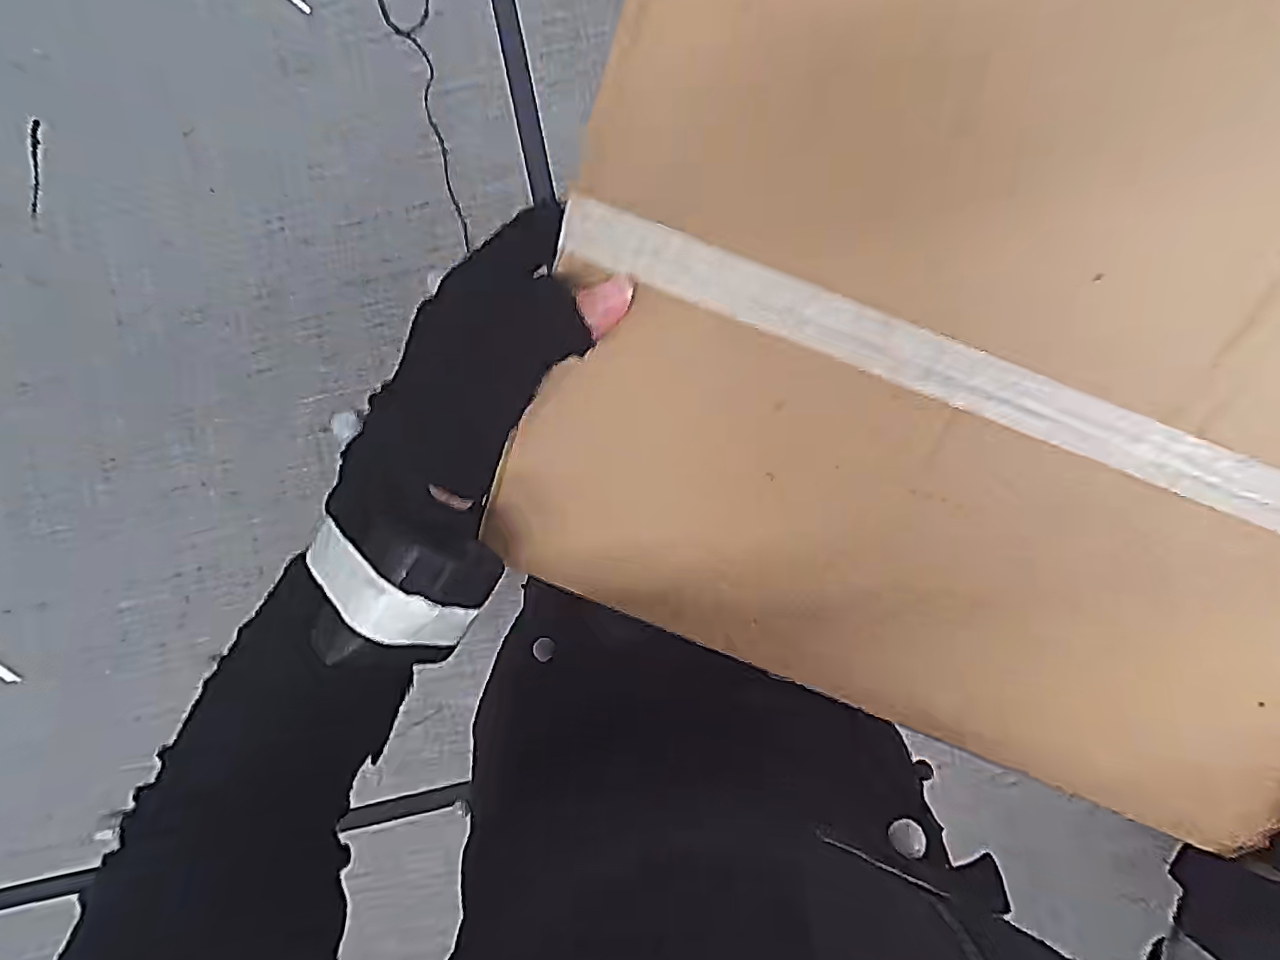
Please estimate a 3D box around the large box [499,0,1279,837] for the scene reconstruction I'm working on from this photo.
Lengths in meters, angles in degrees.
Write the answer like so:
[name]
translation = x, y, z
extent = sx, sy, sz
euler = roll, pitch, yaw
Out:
[large box]
translation = 0.179, -0.071, 0.359
extent = 0.408, 0.320, 0.320
euler = 22, 112, 0
